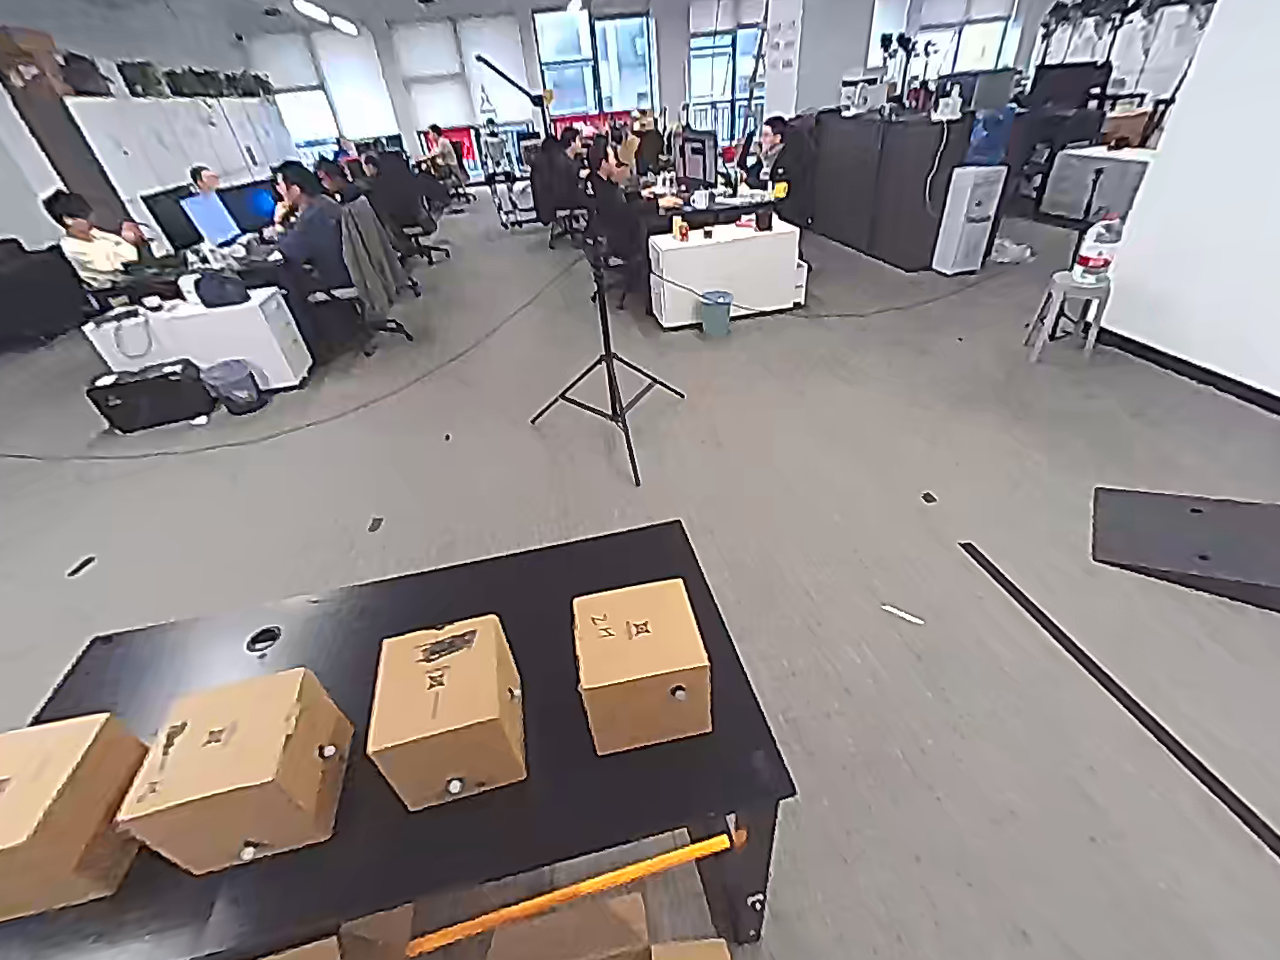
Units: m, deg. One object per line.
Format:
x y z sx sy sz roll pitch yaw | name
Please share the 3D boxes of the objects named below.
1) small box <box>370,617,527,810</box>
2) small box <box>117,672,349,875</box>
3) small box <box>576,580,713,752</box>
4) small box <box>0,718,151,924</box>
-0.266 0.336 0.787 0.168 0.176 0.179 -12 37 -9 | small box
-0.527 0.398 0.739 0.179 0.176 0.168 -11 36 -9 | small box
0.006 0.281 0.821 0.179 0.176 0.168 -10 35 -5 | small box
-0.784 0.447 0.706 0.179 0.176 0.168 -9 36 -6 | small box
